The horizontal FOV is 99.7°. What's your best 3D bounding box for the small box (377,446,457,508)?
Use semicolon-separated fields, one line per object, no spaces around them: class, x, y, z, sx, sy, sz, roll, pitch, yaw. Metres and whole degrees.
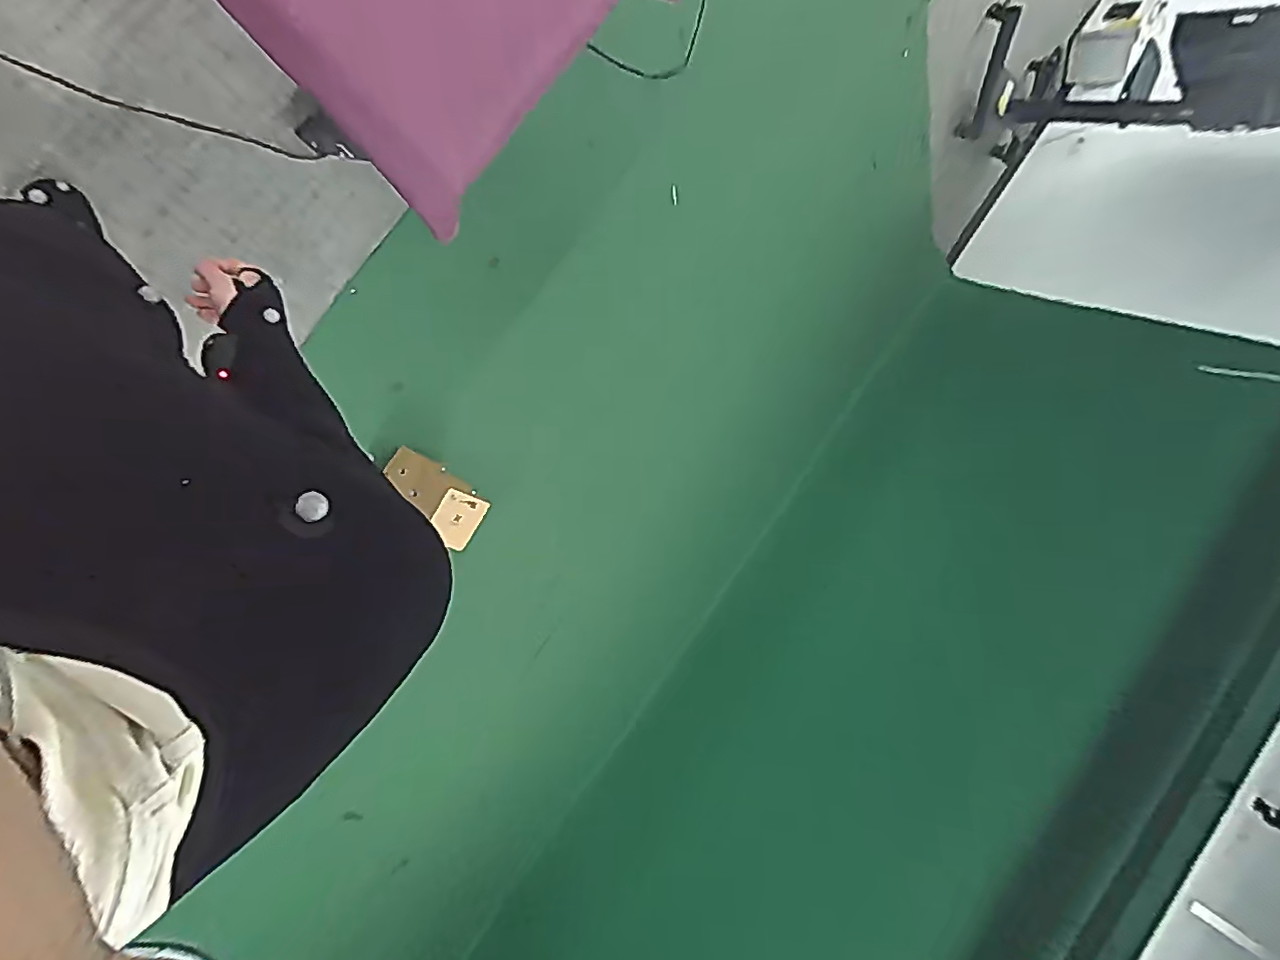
small box;-0.710;0.008;1.751;0.168;0.176;0.179;-56;144;-2

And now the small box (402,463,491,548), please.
small box;-0.598;0.076;1.653;0.179;0.176;0.168;-56;144;0
